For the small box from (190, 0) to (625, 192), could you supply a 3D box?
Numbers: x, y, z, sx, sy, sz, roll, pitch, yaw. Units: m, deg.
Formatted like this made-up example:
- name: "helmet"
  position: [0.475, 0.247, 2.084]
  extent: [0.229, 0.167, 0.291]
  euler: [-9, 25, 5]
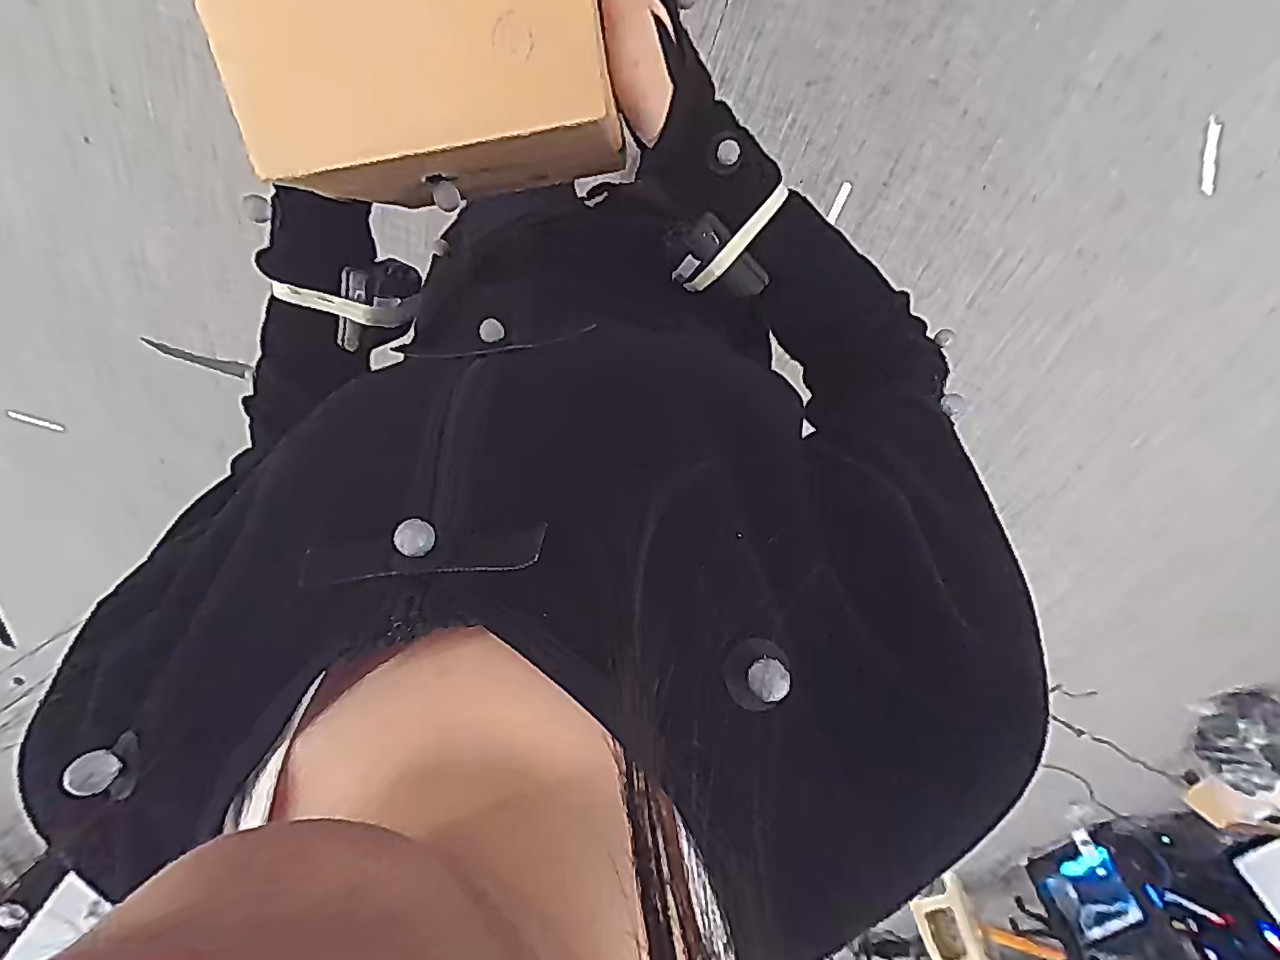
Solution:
- name: "small box"
  position: [-0.103, -0.259, 0.279]
  extent: [0.168, 0.176, 0.179]
  euler: [-7, 112, 5]
